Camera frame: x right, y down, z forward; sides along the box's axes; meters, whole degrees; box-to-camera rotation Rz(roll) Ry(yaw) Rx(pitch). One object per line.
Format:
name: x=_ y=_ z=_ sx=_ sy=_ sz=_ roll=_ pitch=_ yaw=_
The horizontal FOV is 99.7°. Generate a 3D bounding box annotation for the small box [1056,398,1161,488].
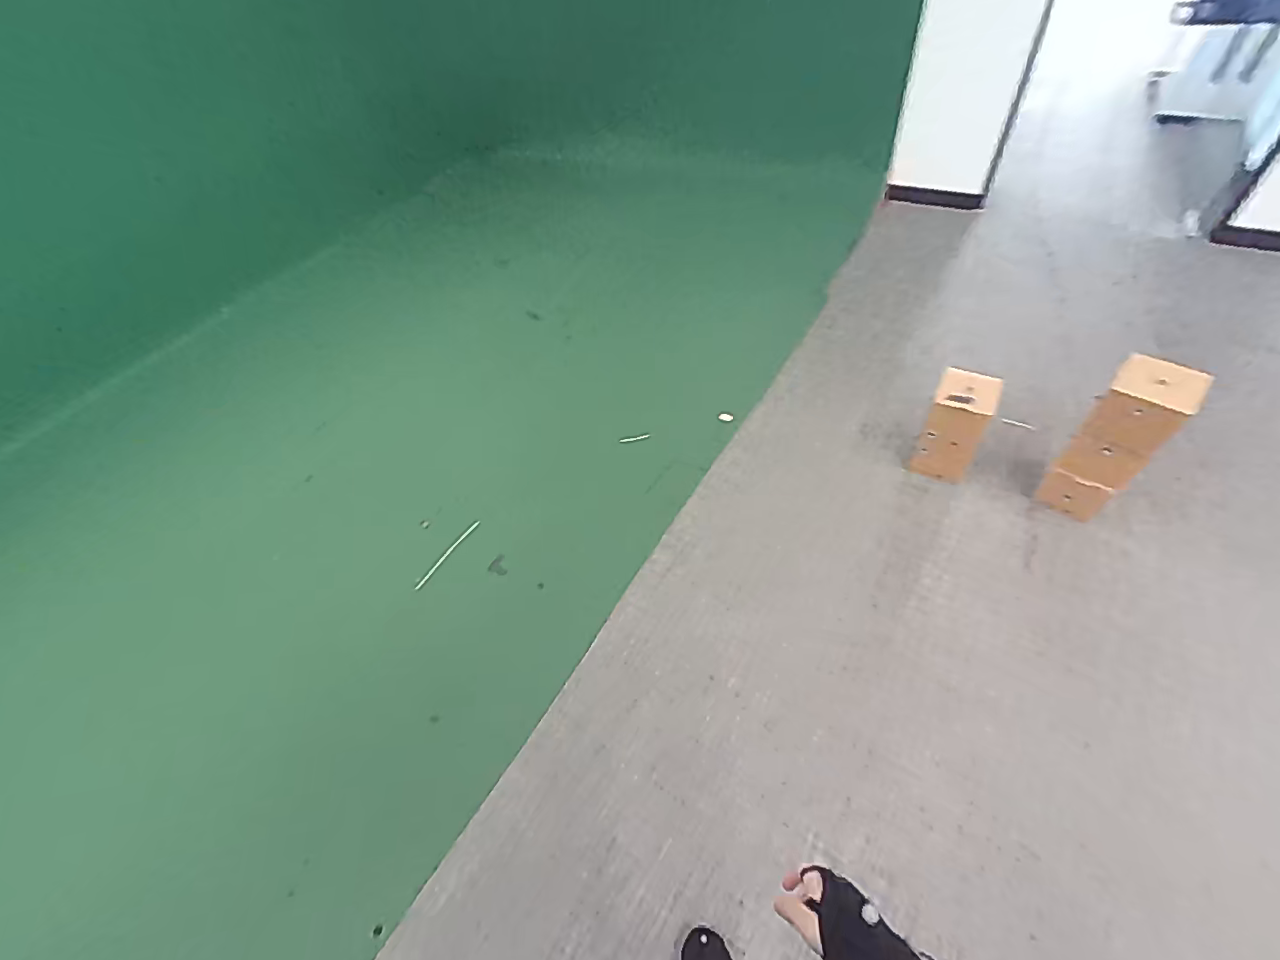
small box: x=1.356 y=-0.101 z=1.559 sx=0.179 sy=0.176 sz=0.168 roll=29 pitch=62 yaw=29

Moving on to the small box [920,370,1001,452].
small box: x=1.007 y=-0.215 z=1.708 sx=0.168 sy=0.176 sz=0.179 roll=21 pitch=58 yaw=24

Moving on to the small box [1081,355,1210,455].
small box: x=1.323 y=-0.195 z=1.429 sx=0.179 sy=0.176 sz=0.168 roll=34 pitch=66 yaw=30

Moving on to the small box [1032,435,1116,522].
small box: x=1.367 y=-0.001 z=1.687 sx=0.168 sy=0.176 sz=0.179 roll=31 pitch=65 yaw=28
